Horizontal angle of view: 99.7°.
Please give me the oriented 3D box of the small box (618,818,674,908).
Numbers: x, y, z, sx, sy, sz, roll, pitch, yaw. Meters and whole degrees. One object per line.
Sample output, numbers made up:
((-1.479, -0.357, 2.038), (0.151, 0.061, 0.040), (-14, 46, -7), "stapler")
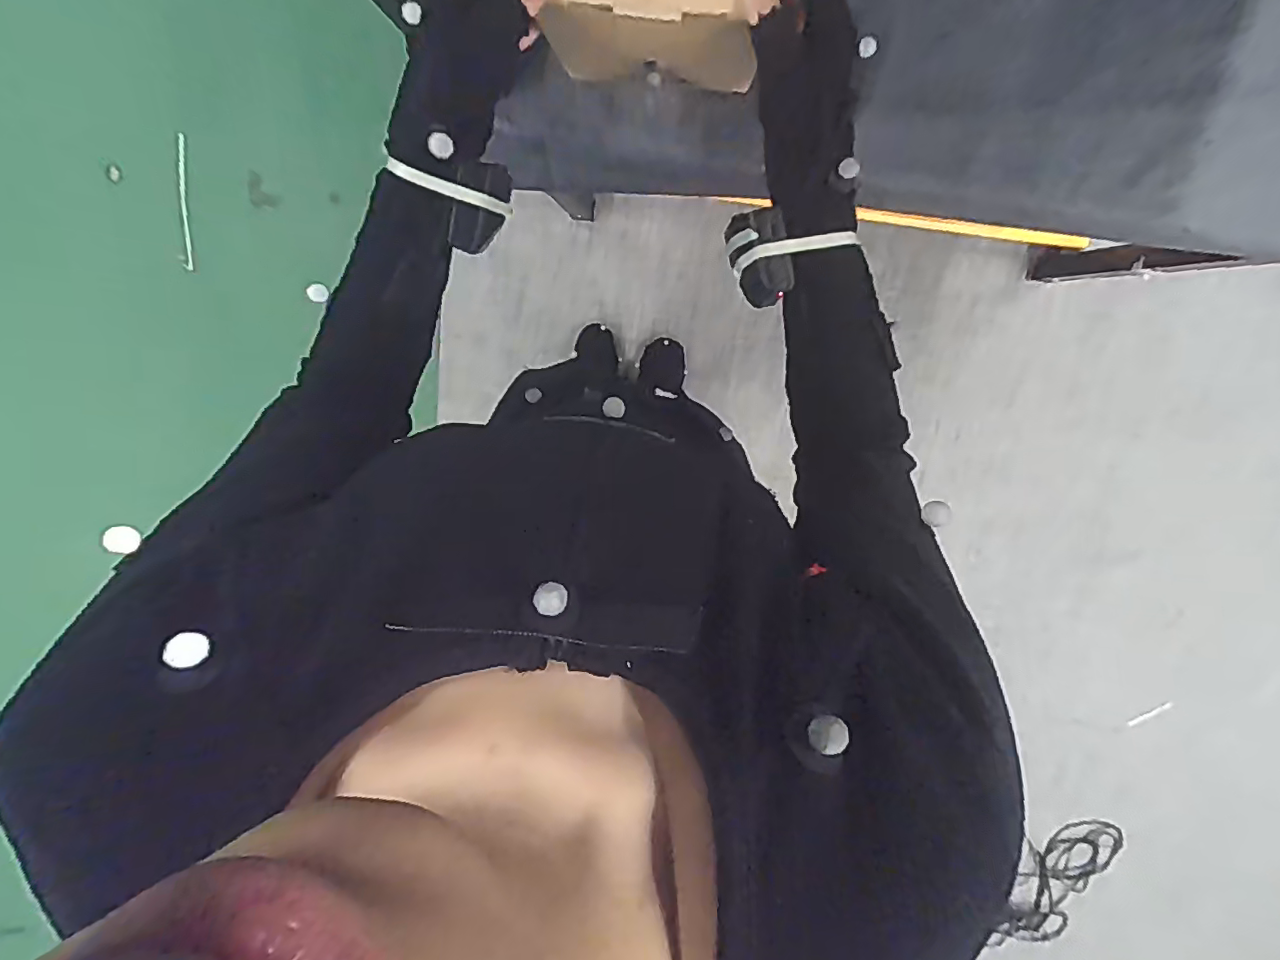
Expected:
((0.020, 1.267, 1.794), (0.168, 0.176, 0.179), (5, 105, -1), "small box")
